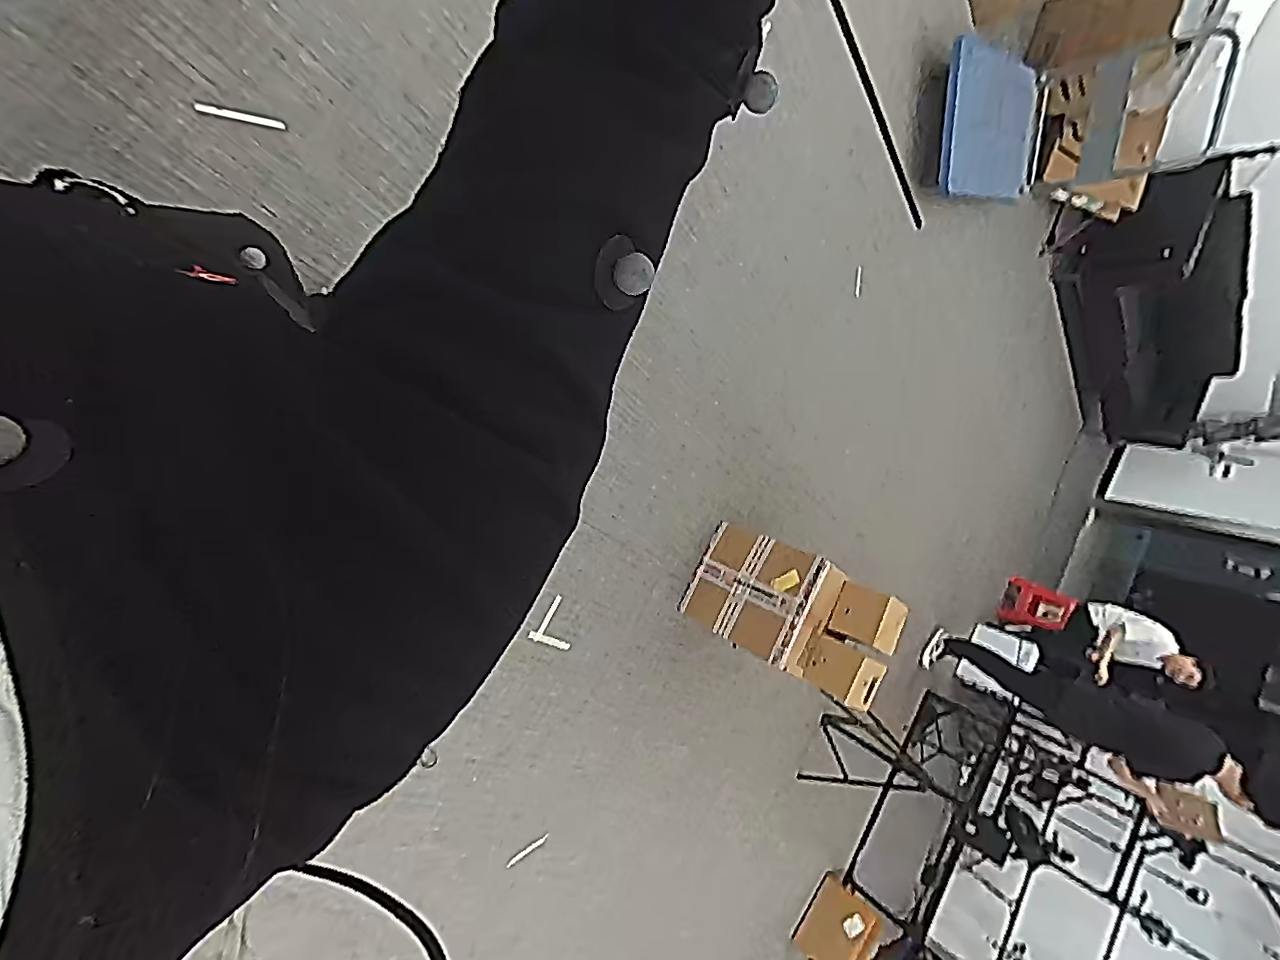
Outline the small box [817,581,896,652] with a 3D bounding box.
[{"bbox_3d":[0.746,0.474,1.852,0.168,0.176,0.179,34,78,-39],"label":"small box"}]
